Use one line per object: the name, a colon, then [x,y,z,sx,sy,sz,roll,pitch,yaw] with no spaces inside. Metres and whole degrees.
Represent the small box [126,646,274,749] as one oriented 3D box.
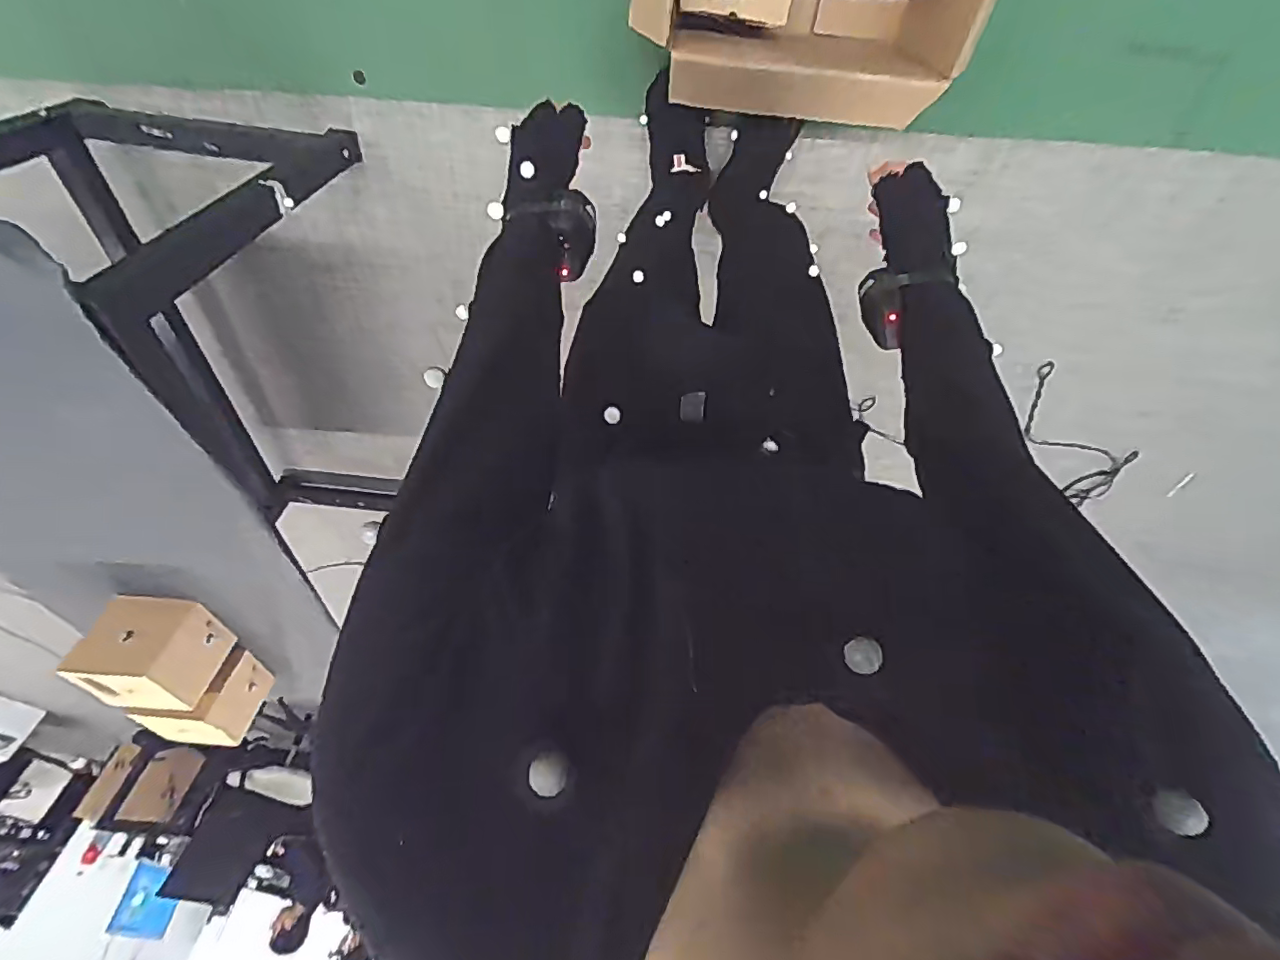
small box: [-1.014,0.506,1.266,0.179,0.176,0.168,5,136,0]
